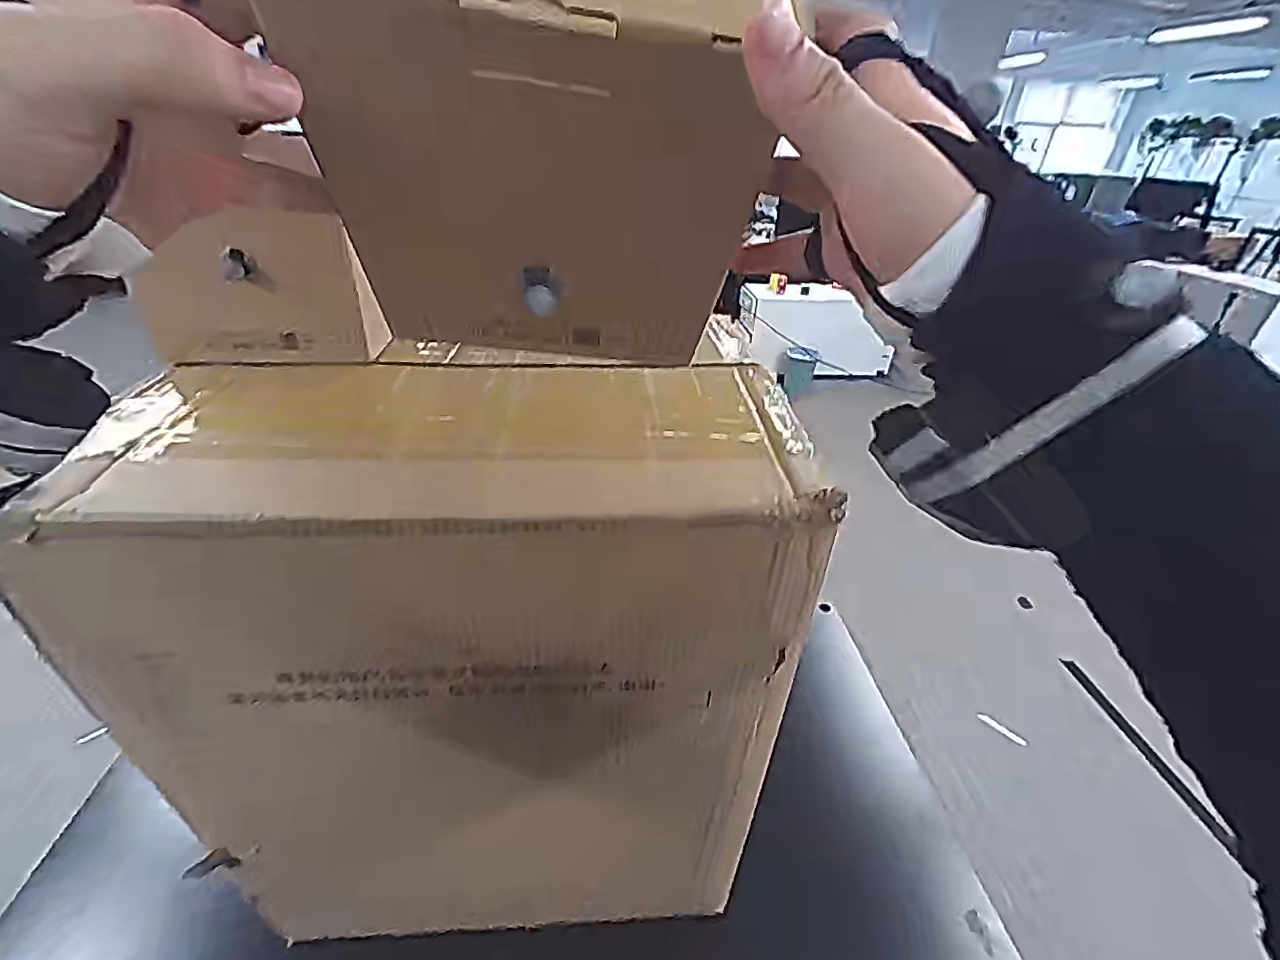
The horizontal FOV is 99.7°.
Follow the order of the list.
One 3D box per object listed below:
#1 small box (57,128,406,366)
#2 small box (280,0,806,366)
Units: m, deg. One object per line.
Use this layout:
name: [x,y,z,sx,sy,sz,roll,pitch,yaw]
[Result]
small box: [-0.318,-0.205,0.477,0.168,0.176,0.179,-2,31,-9]
small box: [-0.040,-0.182,0.264,0.168,0.176,0.179,3,65,-7]
